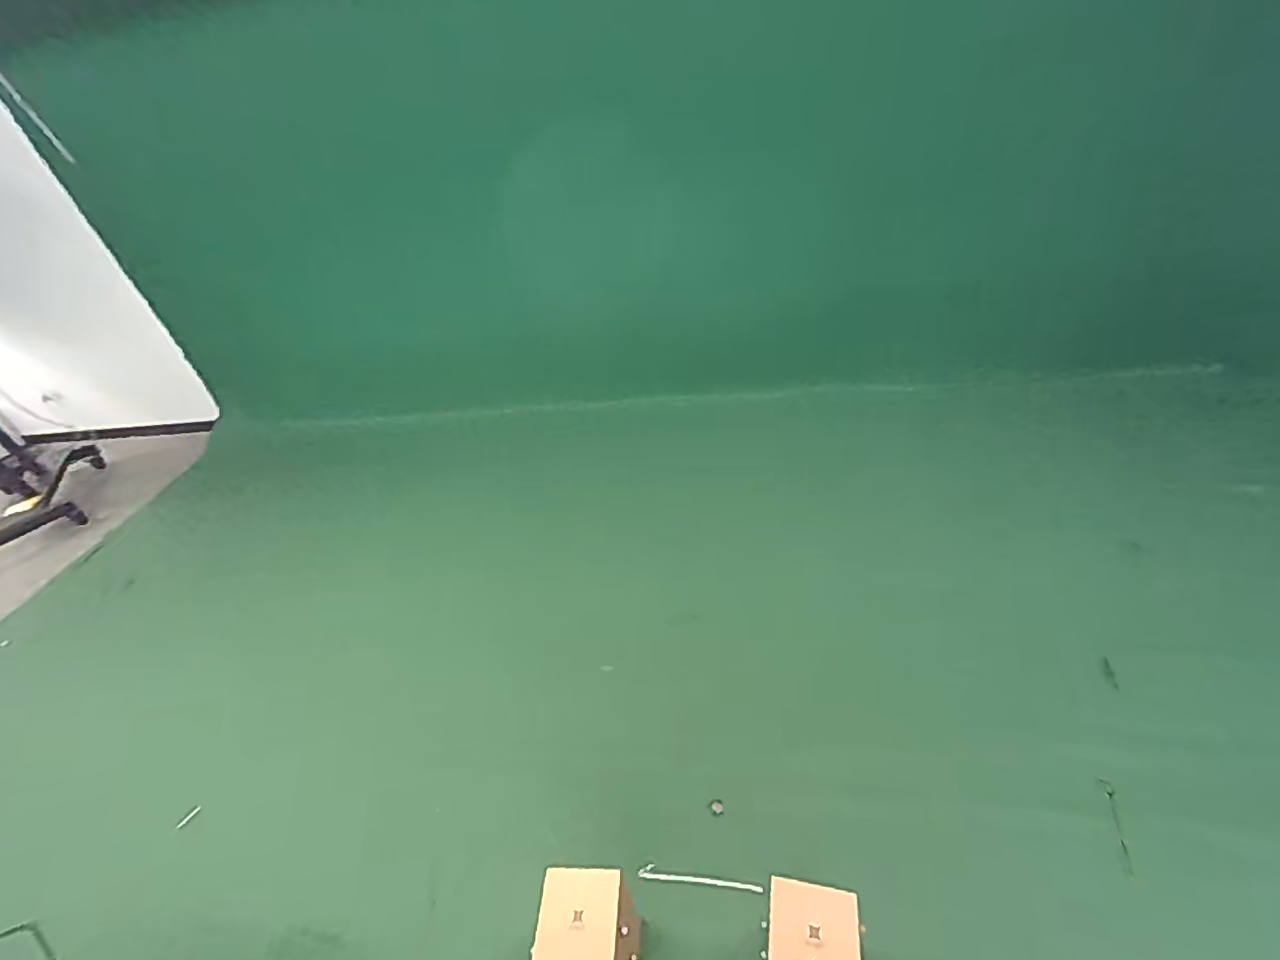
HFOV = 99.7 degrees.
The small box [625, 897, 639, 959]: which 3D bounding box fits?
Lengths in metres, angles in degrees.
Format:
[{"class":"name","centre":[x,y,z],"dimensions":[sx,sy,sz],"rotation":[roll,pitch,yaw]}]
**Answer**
[{"class":"small box","centre":[-0.100,1.079,1.243],"dimensions":[0.168,0.176,0.179],"rotation":[-3,38,9]}]

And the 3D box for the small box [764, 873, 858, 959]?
[{"class":"small box","centre":[0.335,0.924,1.072],"dimensions":[0.168,0.176,0.179],"rotation":[2,40,16]}]

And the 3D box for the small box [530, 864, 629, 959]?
[{"class":"small box","centre":[-0.119,0.948,1.148],"dimensions":[0.168,0.176,0.179],"rotation":[-4,39,8]}]
